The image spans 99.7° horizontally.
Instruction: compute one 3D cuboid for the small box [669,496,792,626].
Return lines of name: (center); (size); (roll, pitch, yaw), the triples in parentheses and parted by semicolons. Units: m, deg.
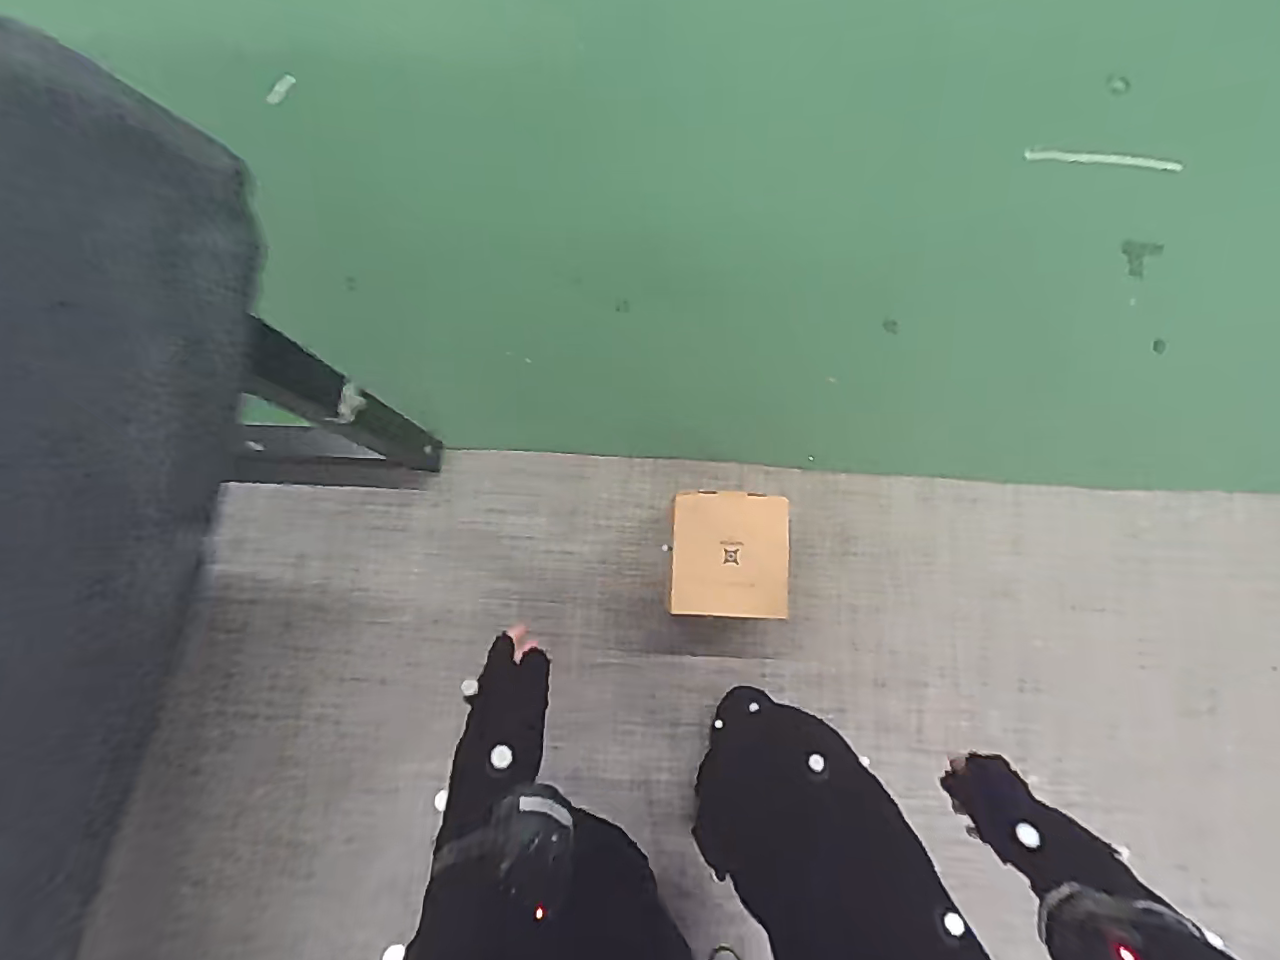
small box: (0.134, 0.128, 0.847); (0.168, 0.176, 0.179); (3, 81, 1)
